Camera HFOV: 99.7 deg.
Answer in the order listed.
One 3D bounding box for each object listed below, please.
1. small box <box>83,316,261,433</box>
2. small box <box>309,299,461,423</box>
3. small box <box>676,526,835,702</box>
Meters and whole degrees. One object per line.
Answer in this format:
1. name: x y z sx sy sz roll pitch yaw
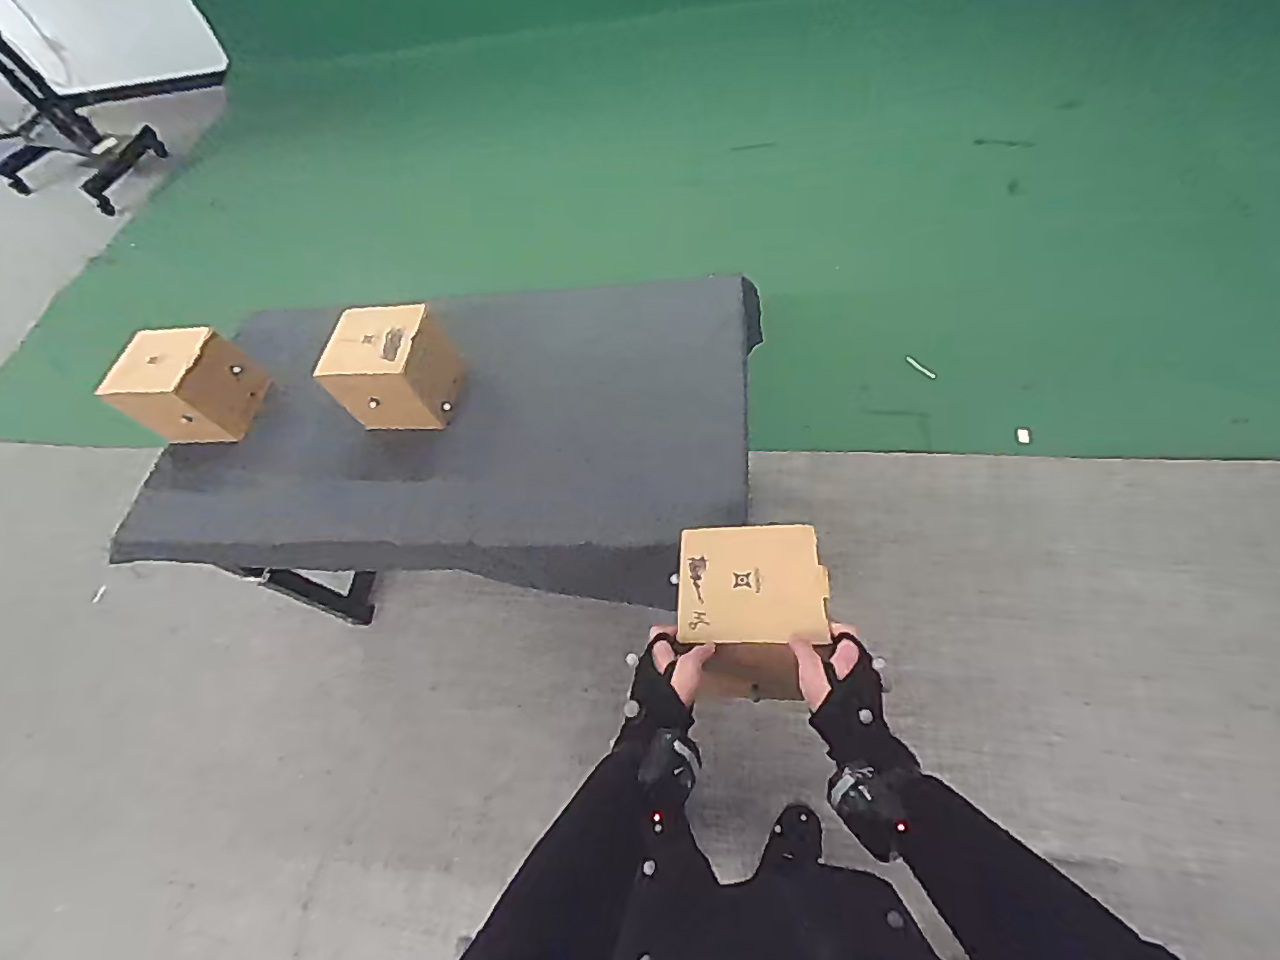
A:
1. small box: -0.915 -0.205 1.080 0.179 0.176 0.168 0 58 9
2. small box: -0.466 -0.220 1.023 0.179 0.176 0.168 2 60 10
3. small box: 0.145 0.177 0.710 0.179 0.176 0.168 -1 46 10
